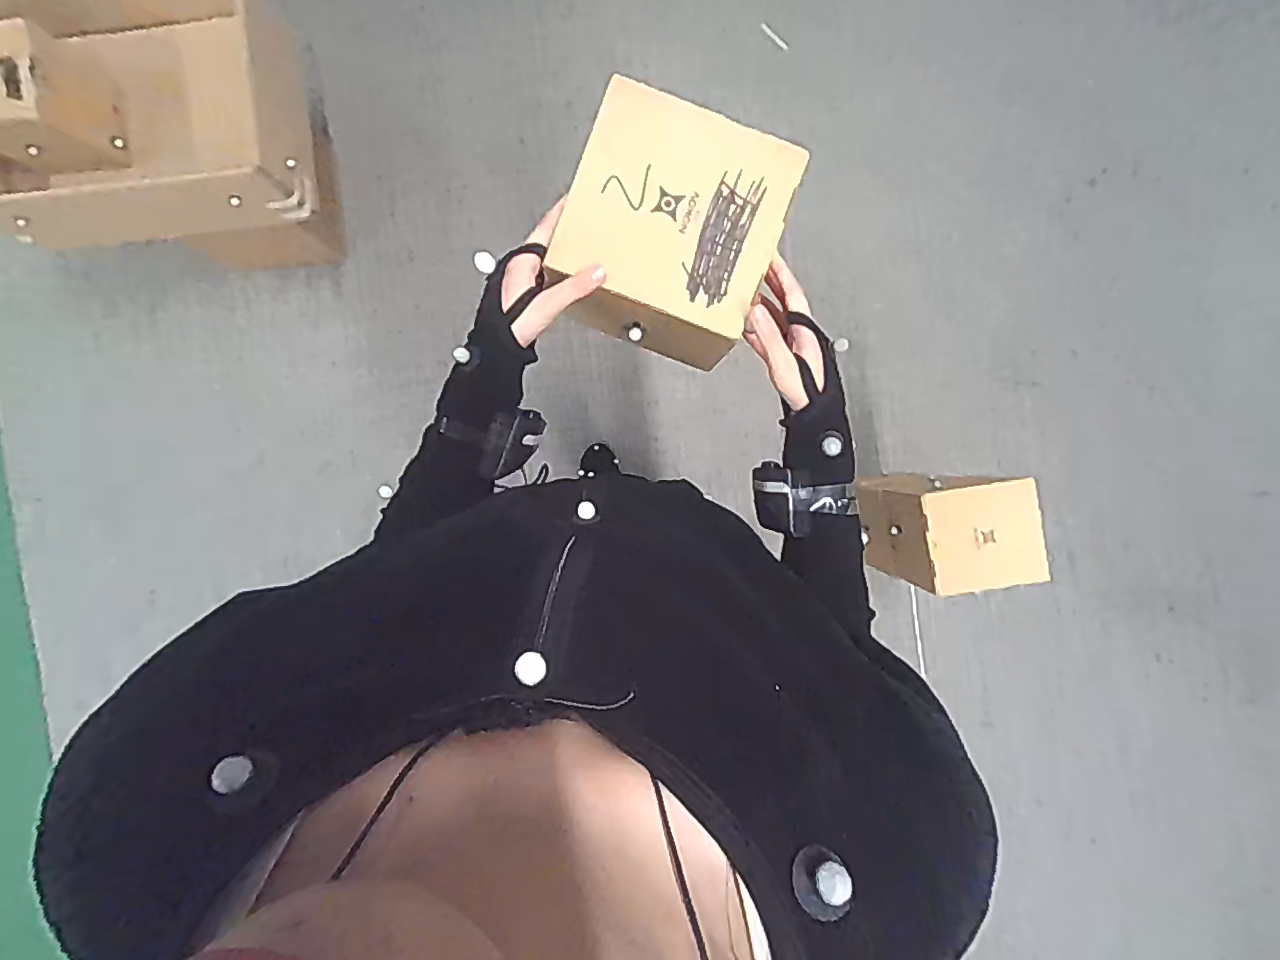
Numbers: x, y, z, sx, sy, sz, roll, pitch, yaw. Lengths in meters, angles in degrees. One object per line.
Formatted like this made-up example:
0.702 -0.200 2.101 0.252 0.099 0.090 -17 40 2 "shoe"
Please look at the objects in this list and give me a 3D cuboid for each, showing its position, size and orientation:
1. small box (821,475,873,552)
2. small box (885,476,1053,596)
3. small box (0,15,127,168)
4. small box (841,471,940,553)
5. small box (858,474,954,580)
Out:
0.581 0.080 1.405 0.168 0.176 0.179 -7 92 2 "small box"
0.544 0.086 0.916 0.179 0.176 0.168 -9 91 4 "small box"
-1.109 -0.708 1.004 0.179 0.176 0.168 -4 92 2 "small box"
0.575 0.075 1.241 0.168 0.176 0.179 -7 92 3 "small box"
0.554 0.087 1.079 0.168 0.176 0.179 -9 92 3 "small box"
